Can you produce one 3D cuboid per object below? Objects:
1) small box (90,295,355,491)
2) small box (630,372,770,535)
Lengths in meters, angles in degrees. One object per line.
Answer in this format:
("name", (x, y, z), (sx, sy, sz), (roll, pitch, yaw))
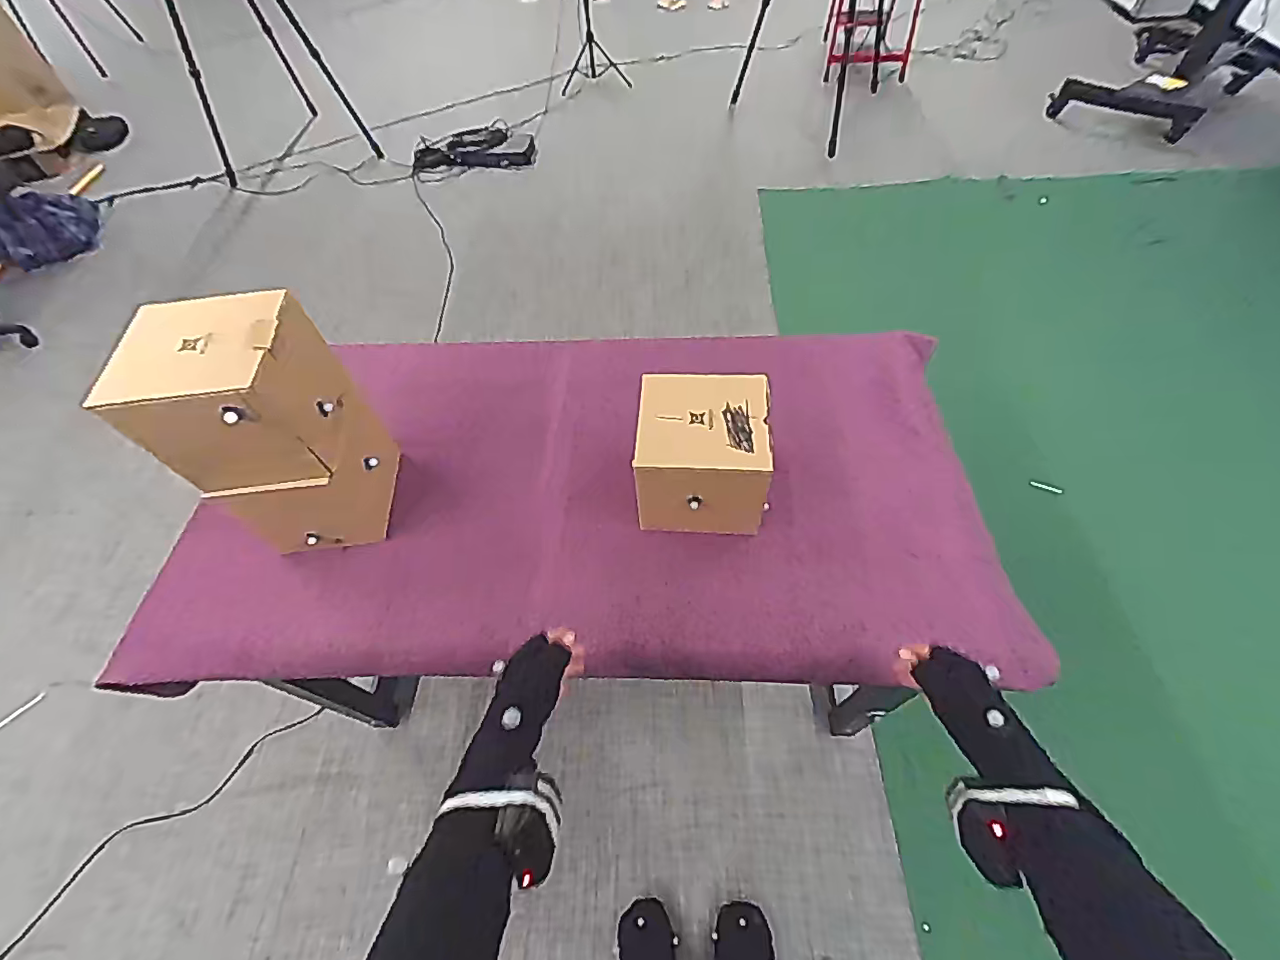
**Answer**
("small box", (-0.495, -0.101, 0.676), (0.179, 0.176, 0.168), (-8, 56, -2))
("small box", (0.087, -0.034, 0.780), (0.179, 0.176, 0.168), (4, 54, 7))
